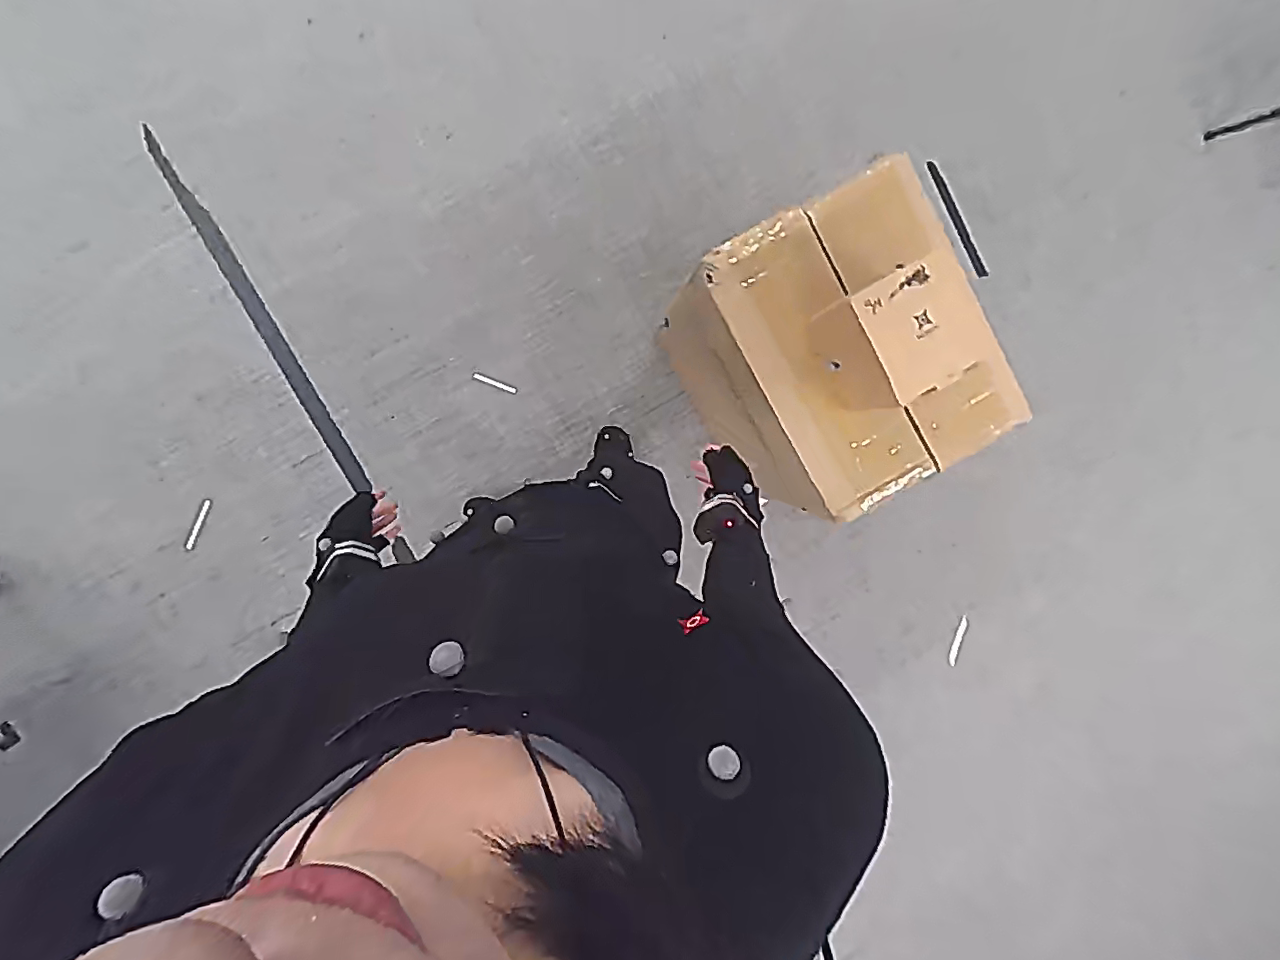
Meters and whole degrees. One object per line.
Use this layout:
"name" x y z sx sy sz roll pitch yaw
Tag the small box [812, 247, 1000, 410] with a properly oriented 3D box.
"small box" 0.399 -0.222 0.840 0.168 0.176 0.179 -29 97 -1
